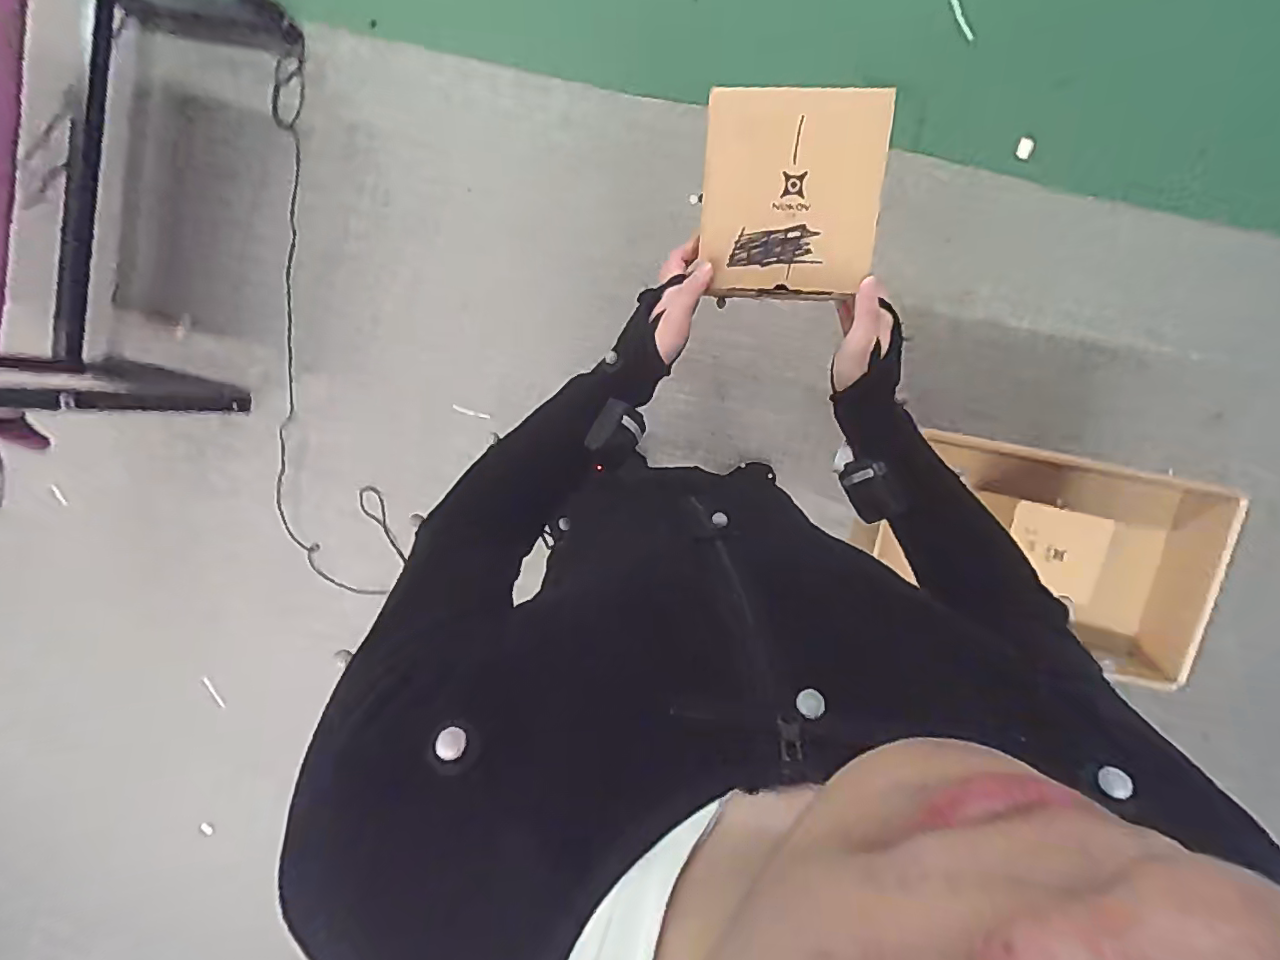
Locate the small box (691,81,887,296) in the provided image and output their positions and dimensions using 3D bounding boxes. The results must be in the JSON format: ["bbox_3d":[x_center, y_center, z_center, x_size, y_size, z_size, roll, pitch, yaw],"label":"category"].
[{"bbox_3d":[0.141,-0.293,0.579,0.168,0.176,0.179,2,107,4],"label":"small box"}]

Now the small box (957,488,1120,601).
[{"bbox_3d":[0.771,0.118,1.066,0.179,0.176,0.168,12,97,4],"label":"small box"}]
